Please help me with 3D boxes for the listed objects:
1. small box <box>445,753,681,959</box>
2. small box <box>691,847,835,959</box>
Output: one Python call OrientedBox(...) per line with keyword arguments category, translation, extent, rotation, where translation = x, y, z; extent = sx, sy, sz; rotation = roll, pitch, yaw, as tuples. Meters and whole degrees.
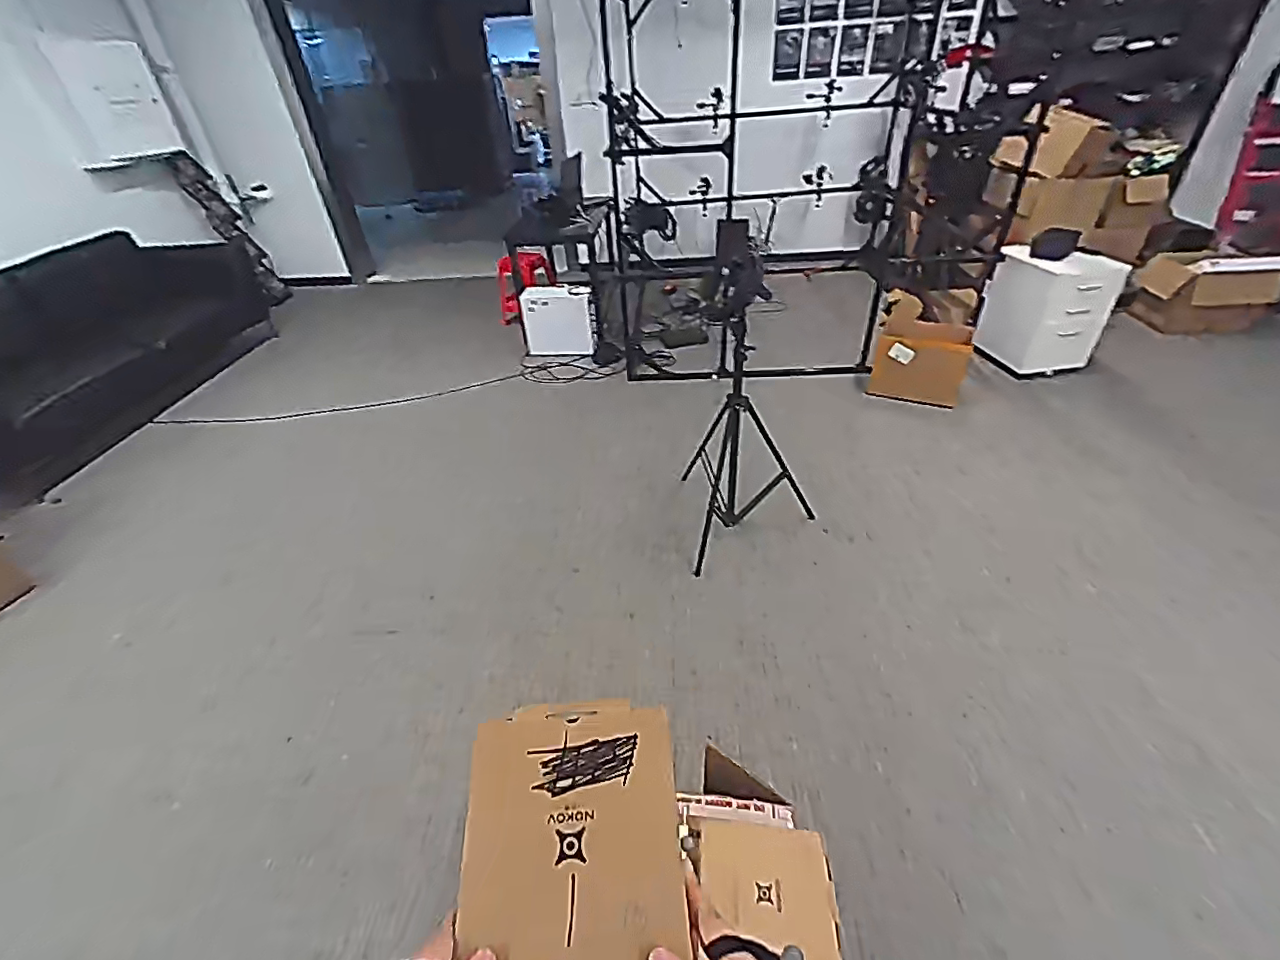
OrientedBox(category="small box", translation=(-0.057, 0.353, 0.462), extent=(0.168, 0.176, 0.179), rotation=(-4, 51, -3))
OrientedBox(category="small box", translation=(0.164, 0.649, 0.761), extent=(0.179, 0.176, 0.168), rotation=(2, 38, 5))
